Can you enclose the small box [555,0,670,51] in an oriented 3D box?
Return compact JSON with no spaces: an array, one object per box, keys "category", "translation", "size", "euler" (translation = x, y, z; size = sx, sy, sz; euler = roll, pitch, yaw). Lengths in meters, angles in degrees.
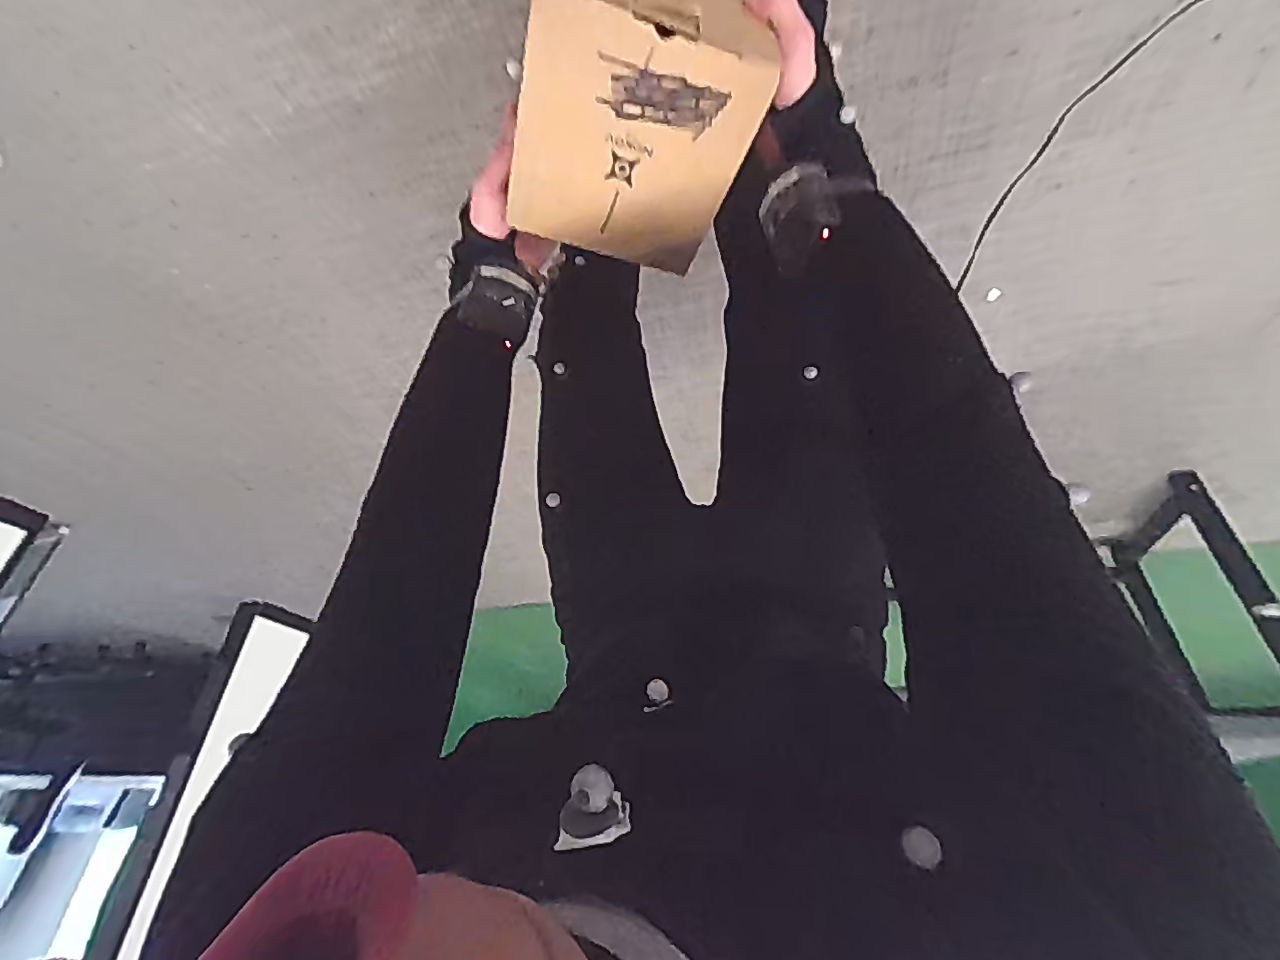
[{"category":"small box","translation":[-0.031,-0.647,0.610],"size":[0.179,0.176,0.168],"euler":[14,146,-20]}]
